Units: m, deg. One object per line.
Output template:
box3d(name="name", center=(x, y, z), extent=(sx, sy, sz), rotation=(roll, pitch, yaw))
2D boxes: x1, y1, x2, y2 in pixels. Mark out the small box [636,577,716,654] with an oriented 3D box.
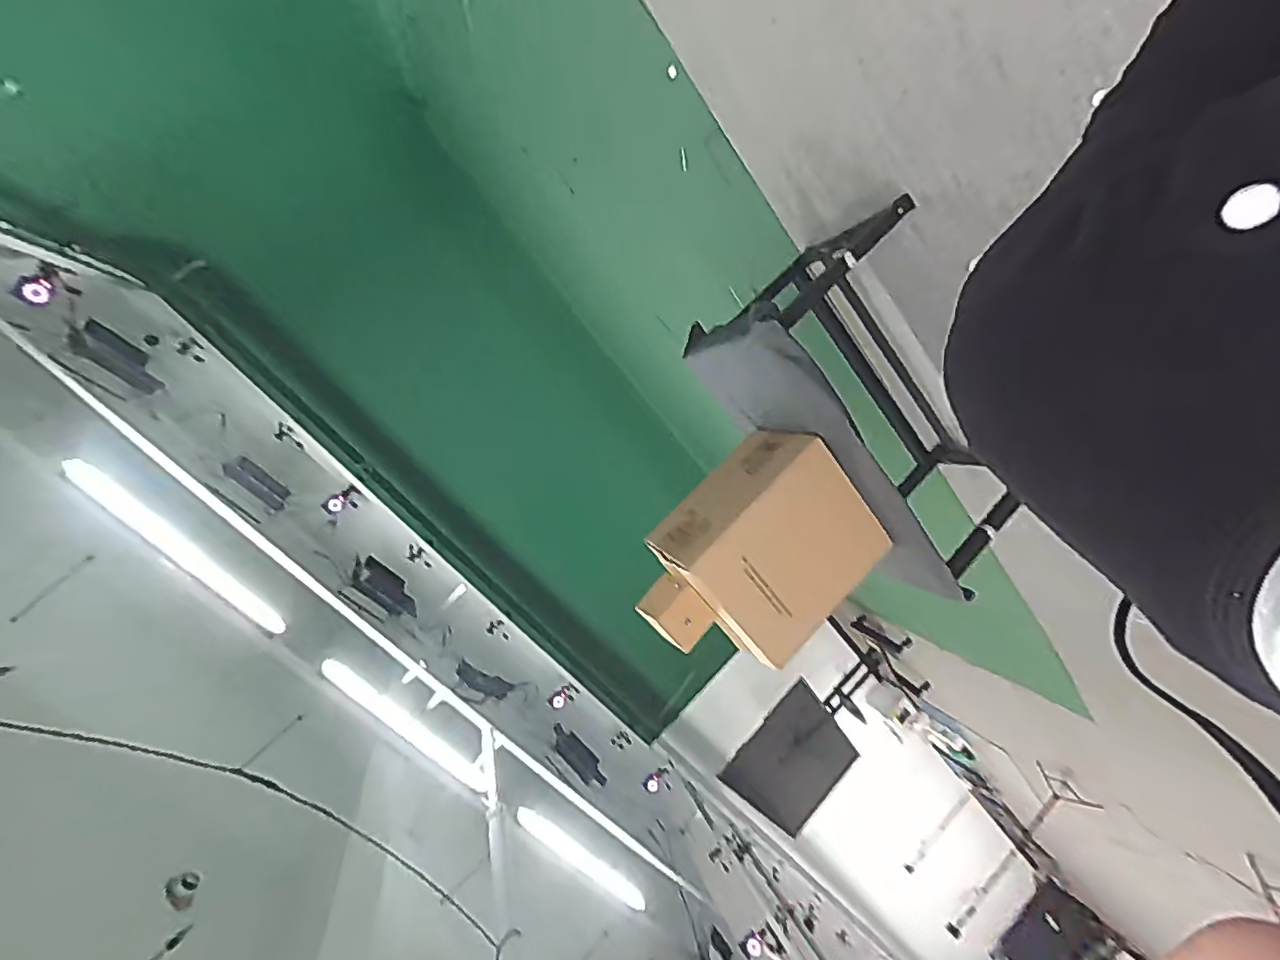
box3d(name="small box", center=(0.126, 0.461, 1.872), extent=(0.179, 0.176, 0.168), rotation=(49, 164, -20))
